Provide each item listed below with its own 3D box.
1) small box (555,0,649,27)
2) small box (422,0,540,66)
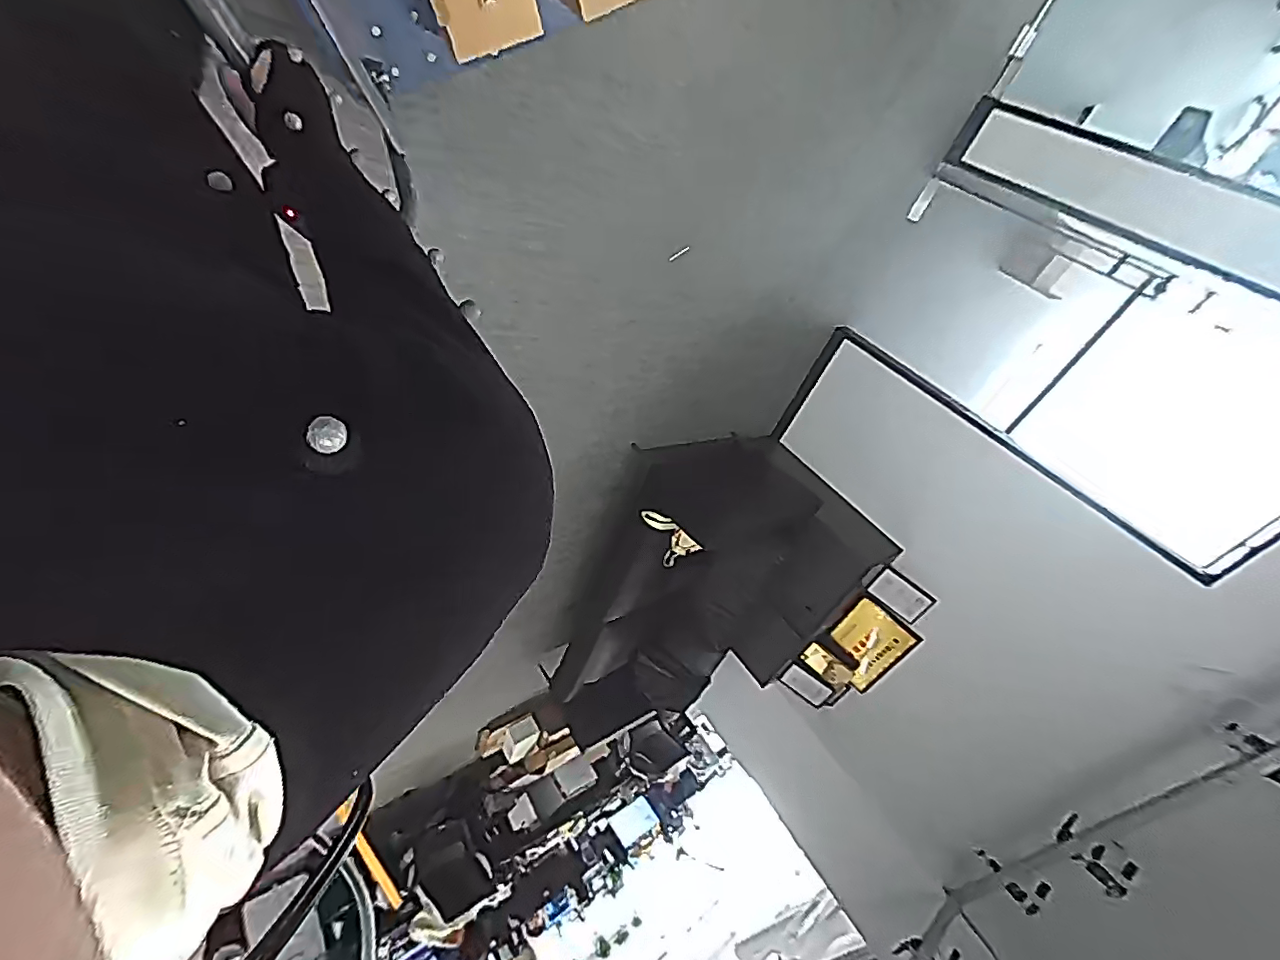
[{"bbox_3d":[-0.083,-1.007,1.019,0.179,0.176,0.168,-25,148,-4],"label":"small box"},{"bbox_3d":[-0.309,-0.907,0.989,0.179,0.176,0.168,-24,148,-7],"label":"small box"}]
